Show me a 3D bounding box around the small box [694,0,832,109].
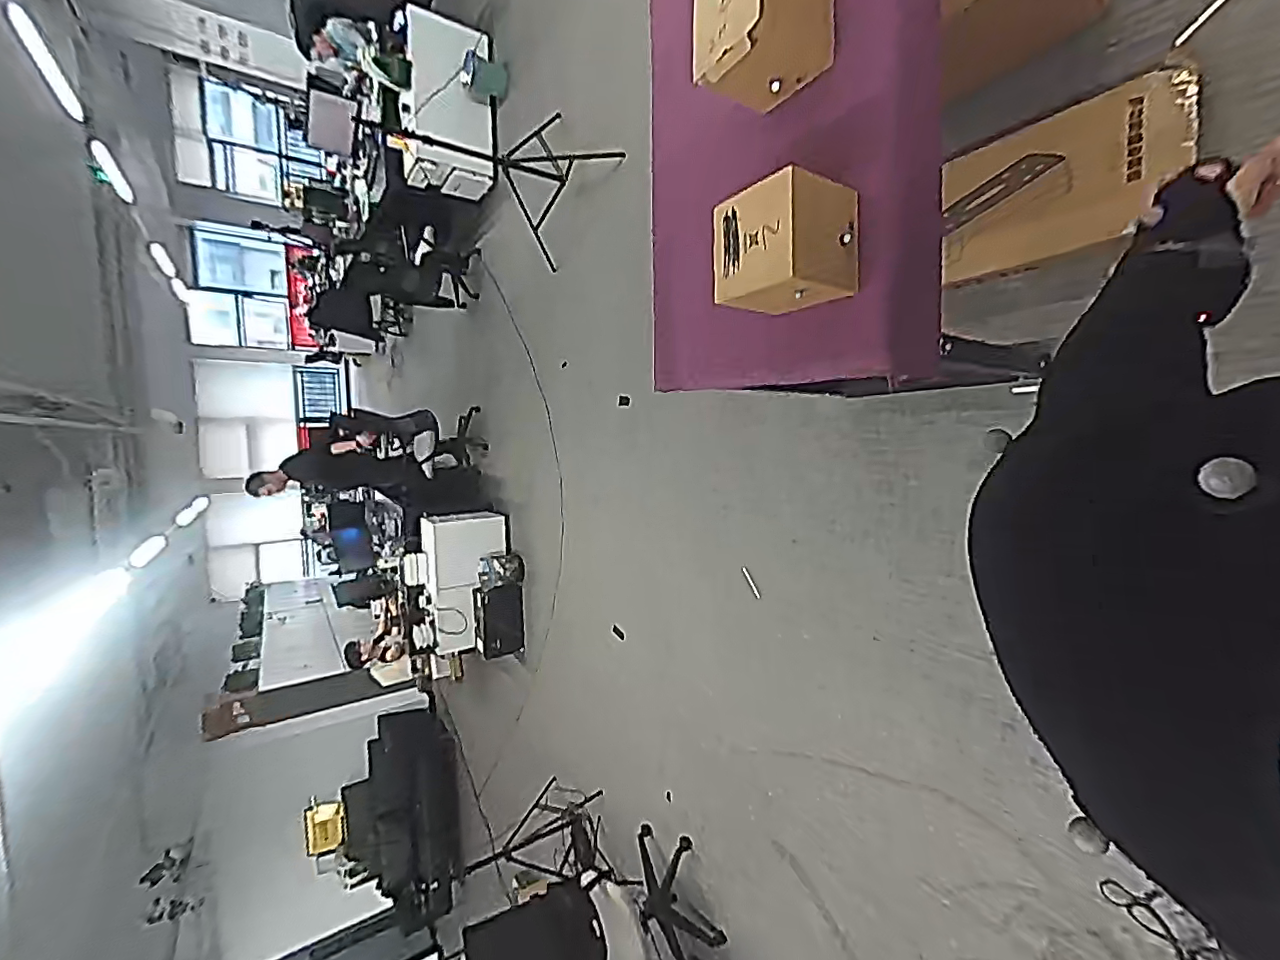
[{"bbox_3d":[0.208,-0.783,0.922,0.168,0.176,0.179,3,96,58],"label":"small box"}]
